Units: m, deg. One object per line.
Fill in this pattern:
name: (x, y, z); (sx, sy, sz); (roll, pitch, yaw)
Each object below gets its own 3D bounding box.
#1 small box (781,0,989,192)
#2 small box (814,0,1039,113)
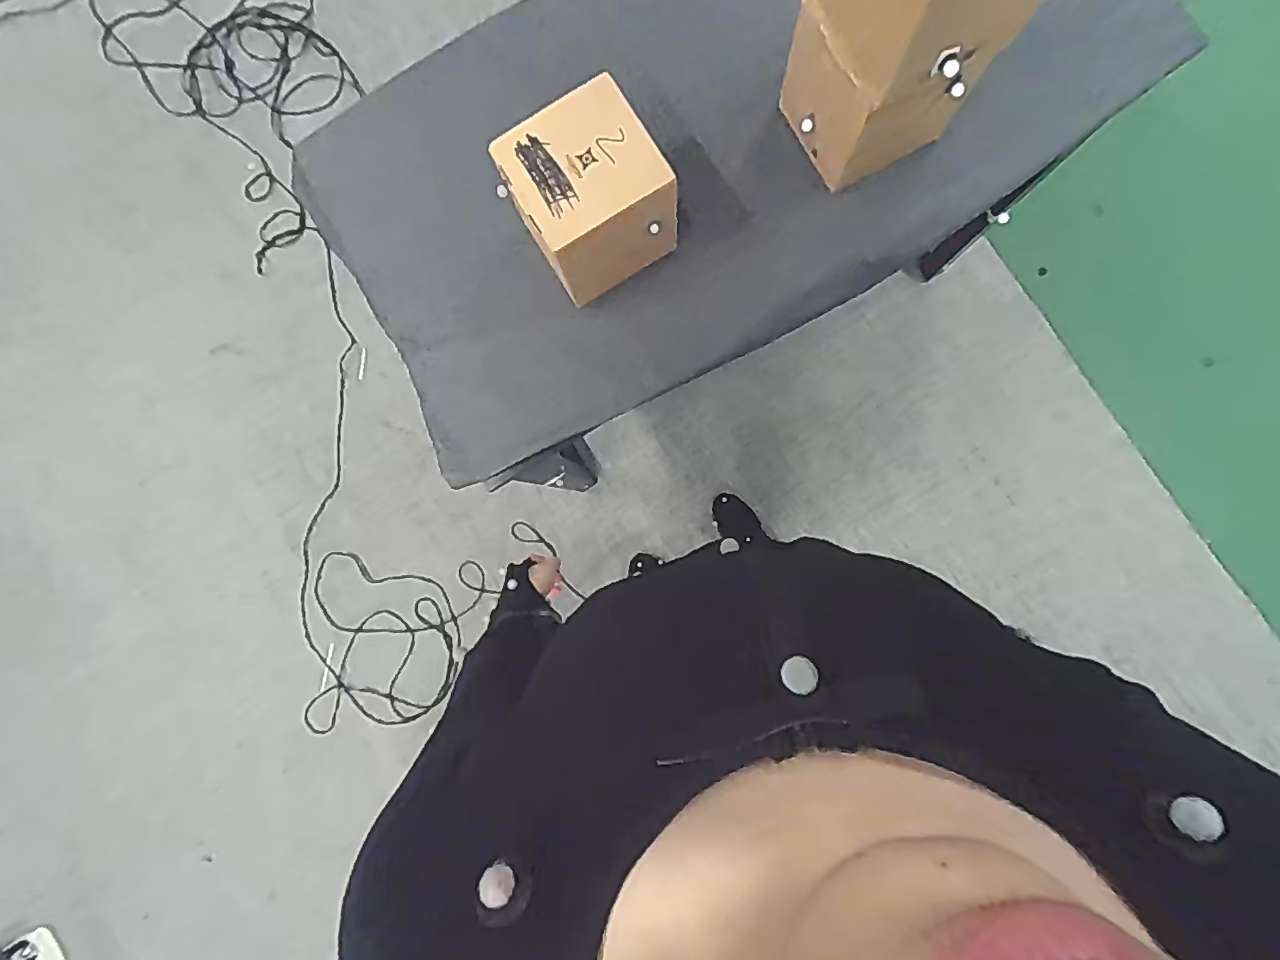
small box: (0.309, -0.528, 0.709); (0.179, 0.176, 0.168); (-27, 84, 2)
small box: (0.299, -0.533, 0.547); (0.168, 0.176, 0.179); (-26, 85, 4)
